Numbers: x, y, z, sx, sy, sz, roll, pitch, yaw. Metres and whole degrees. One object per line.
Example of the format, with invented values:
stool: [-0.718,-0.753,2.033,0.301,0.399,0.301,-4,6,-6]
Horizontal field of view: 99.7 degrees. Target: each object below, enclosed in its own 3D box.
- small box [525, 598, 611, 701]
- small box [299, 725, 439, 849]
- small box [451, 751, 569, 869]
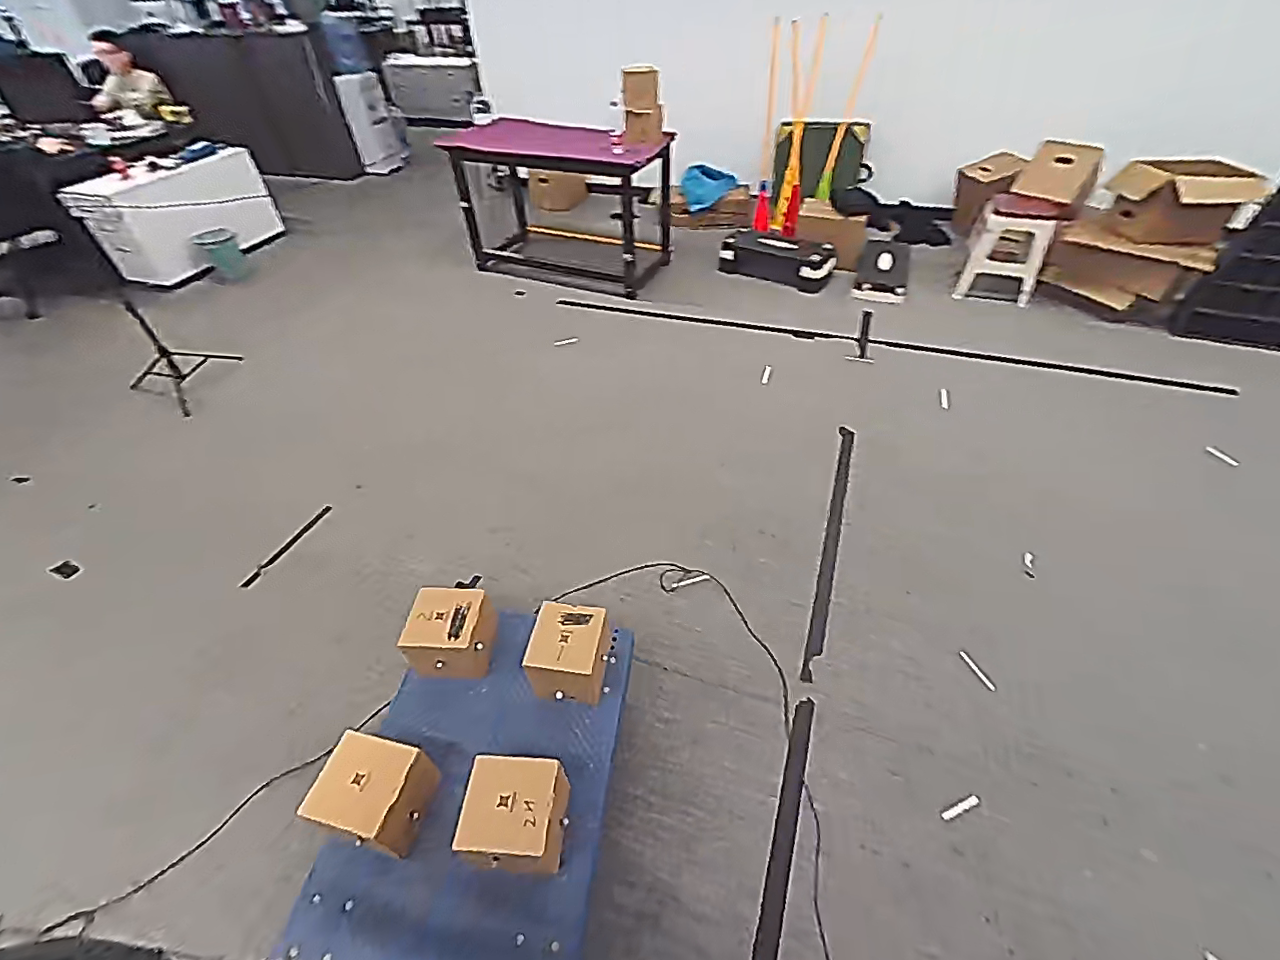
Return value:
small box: [-0.170,0.421,1.344,0.168,0.176,0.179,6,47,9]
small box: [-0.556,0.647,1.137,0.179,0.176,0.168,10,46,10]
small box: [-0.252,0.671,1.097,0.179,0.176,0.168,2,45,5]
